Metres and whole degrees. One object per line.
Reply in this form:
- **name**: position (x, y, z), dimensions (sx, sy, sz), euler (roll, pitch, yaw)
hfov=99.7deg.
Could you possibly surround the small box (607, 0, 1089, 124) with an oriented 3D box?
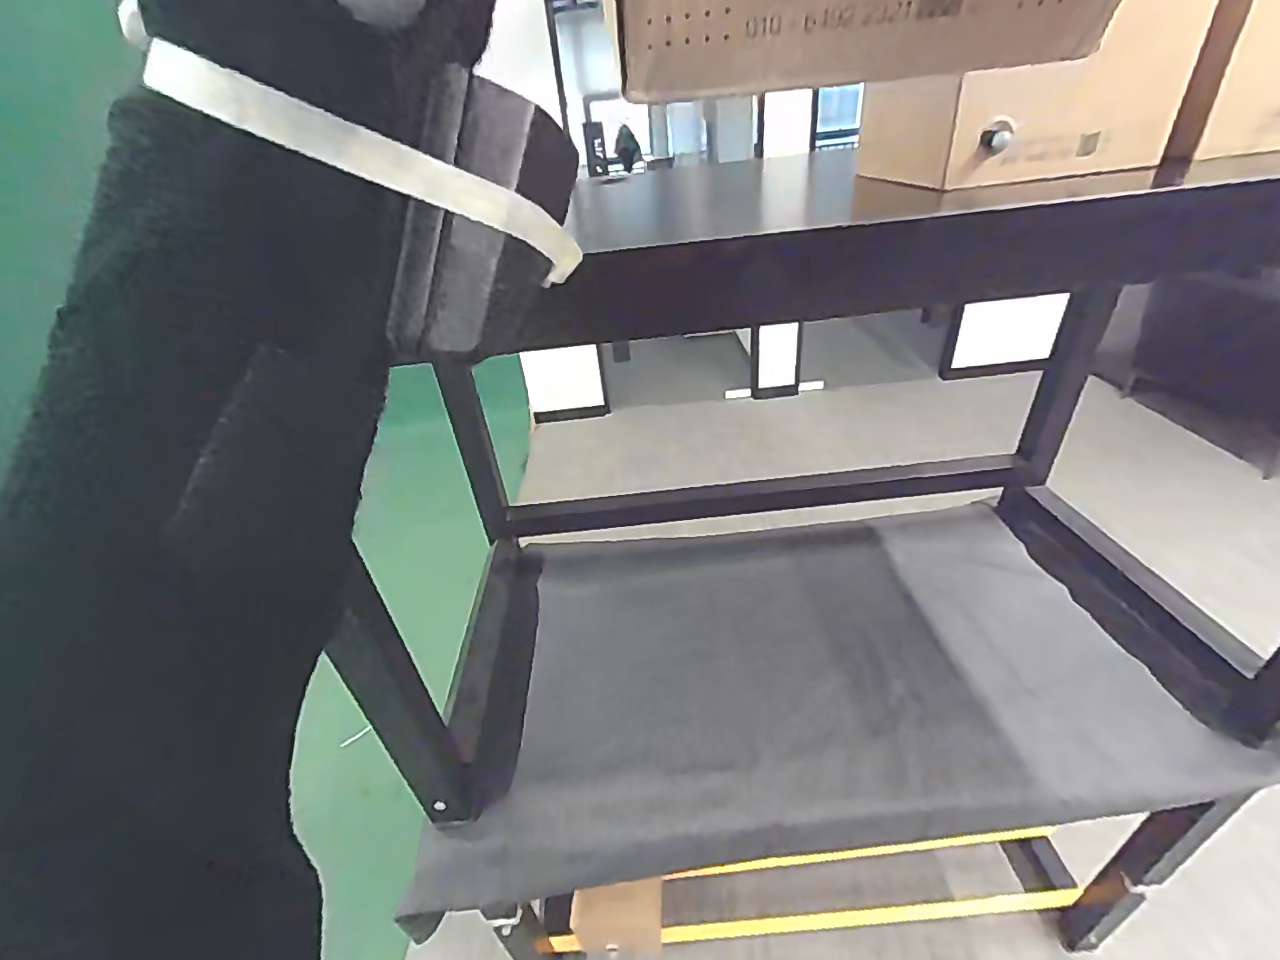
- **small box**: position (0.065, -0.253, 0.197), dimensions (0.168, 0.176, 0.179), euler (-6, 49, 0)
